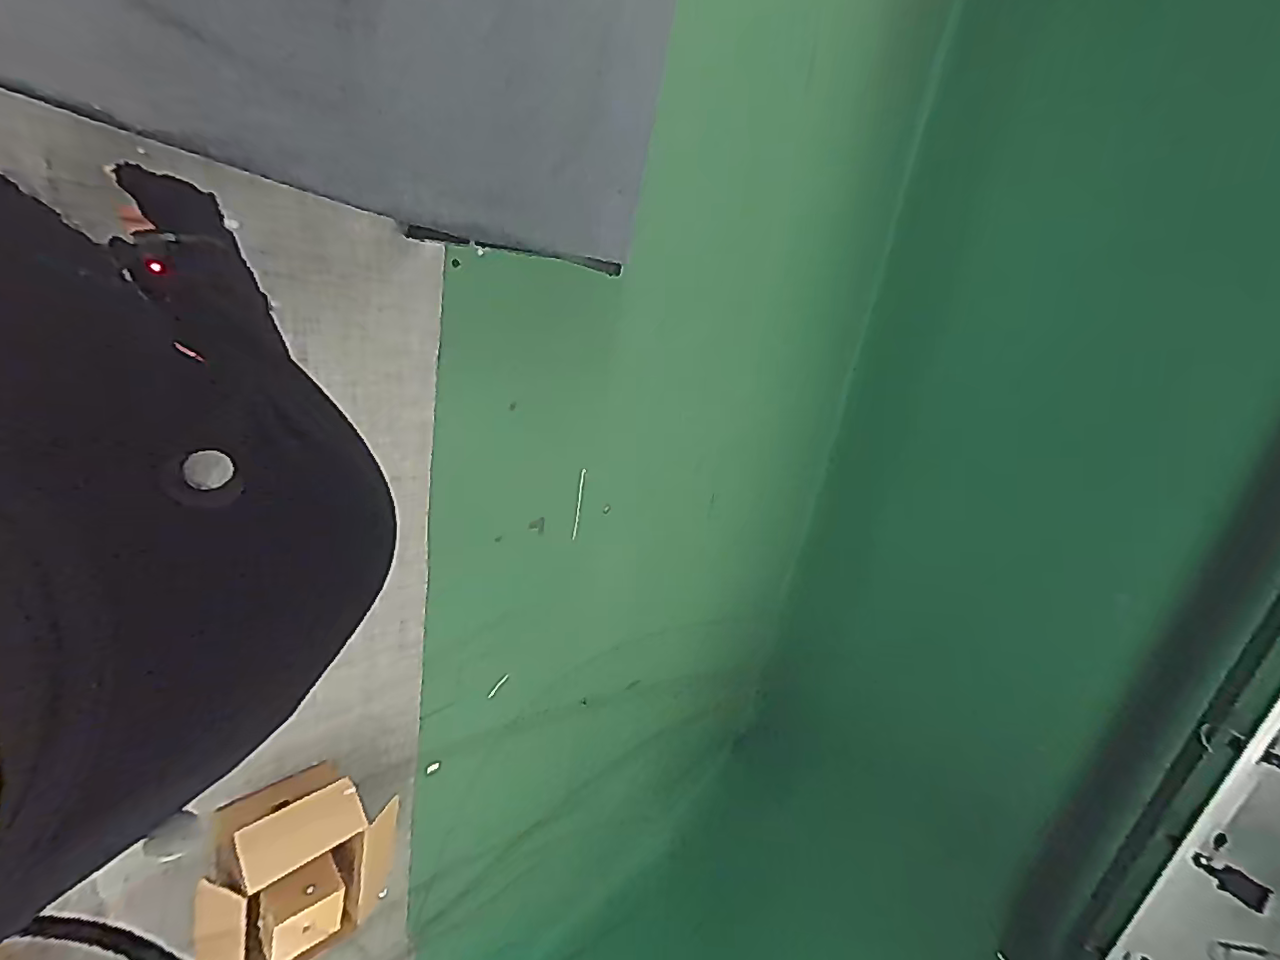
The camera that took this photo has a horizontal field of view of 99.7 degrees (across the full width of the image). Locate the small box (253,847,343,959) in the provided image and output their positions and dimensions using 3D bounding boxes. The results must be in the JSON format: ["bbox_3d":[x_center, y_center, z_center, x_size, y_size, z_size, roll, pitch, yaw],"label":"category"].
[{"bbox_3d":[-0.969,1.197,1.525,0.179,0.176,0.168,-4,113,-50],"label":"small box"}]
